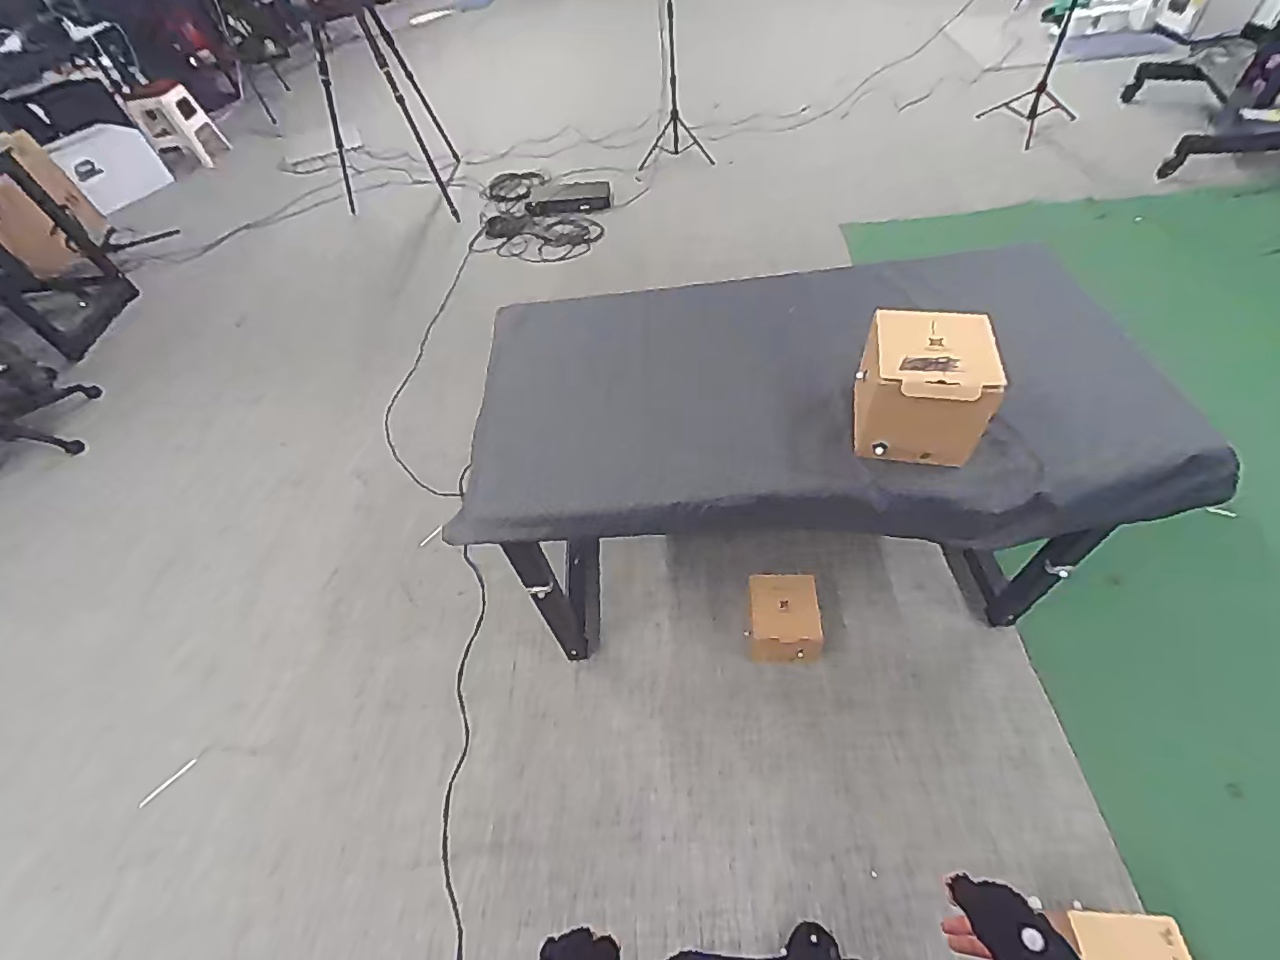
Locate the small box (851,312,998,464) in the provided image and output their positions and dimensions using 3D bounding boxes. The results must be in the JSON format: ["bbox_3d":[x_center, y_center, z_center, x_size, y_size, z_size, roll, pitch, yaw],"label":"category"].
[{"bbox_3d":[0.443,-0.146,0.870,0.168,0.176,0.179,7,53,13],"label":"small box"}]

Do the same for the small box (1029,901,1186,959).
[{"bbox_3d":[0.836,0.865,0.967,0.179,0.176,0.168,-2,53,7],"label":"small box"}]

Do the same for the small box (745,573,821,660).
[{"bbox_3d":[0.367,0.361,1.416,0.168,0.176,0.179,-1,51,6],"label":"small box"}]
